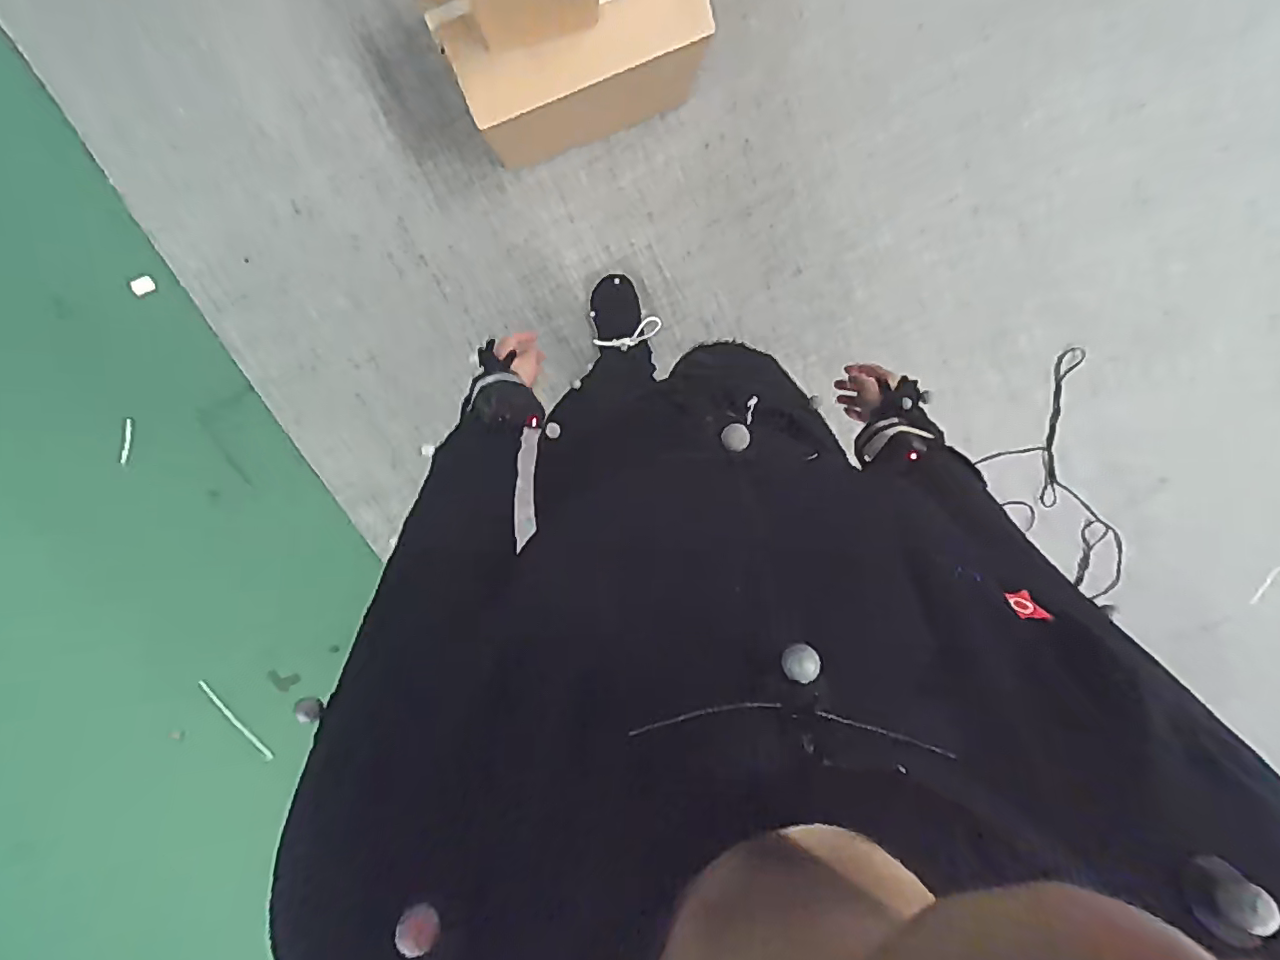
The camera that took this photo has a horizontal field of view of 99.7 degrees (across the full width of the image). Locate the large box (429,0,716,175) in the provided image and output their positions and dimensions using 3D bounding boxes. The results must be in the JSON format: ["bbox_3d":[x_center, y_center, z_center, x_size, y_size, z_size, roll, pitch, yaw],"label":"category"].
[{"bbox_3d":[-0.129,-0.799,0.943,0.408,0.320,0.320,-21,109,2],"label":"large box"}]

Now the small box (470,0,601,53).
[{"bbox_3d":[-0.155,-0.709,0.714,0.179,0.176,0.168,-15,108,1],"label":"small box"}]
